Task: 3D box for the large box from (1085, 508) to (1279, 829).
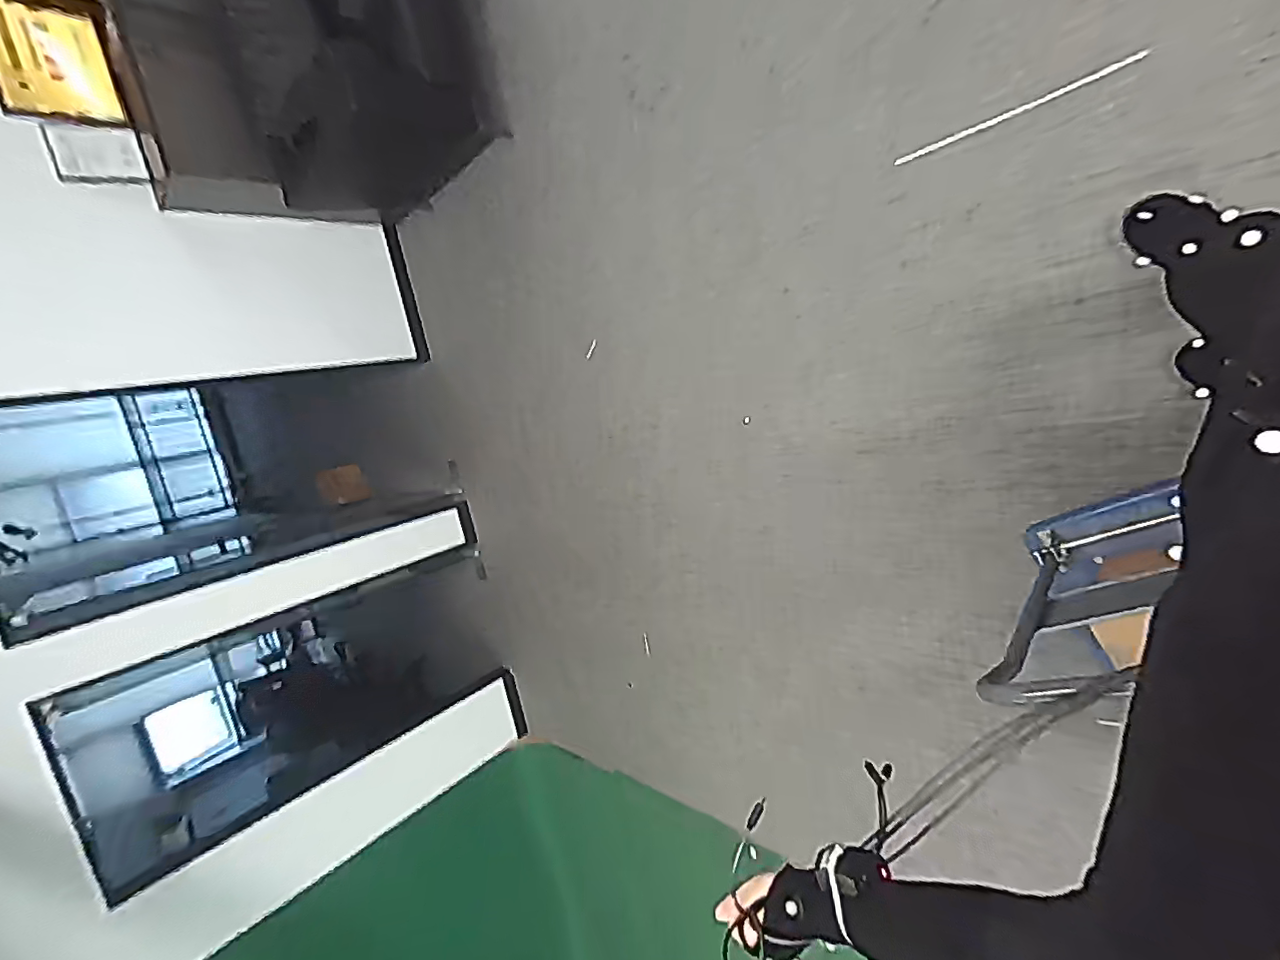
[{"bbox_3d":[1.078,0.317,0.946,0.320,0.320,0.408,-36,80,46],"label":"large box"}]
